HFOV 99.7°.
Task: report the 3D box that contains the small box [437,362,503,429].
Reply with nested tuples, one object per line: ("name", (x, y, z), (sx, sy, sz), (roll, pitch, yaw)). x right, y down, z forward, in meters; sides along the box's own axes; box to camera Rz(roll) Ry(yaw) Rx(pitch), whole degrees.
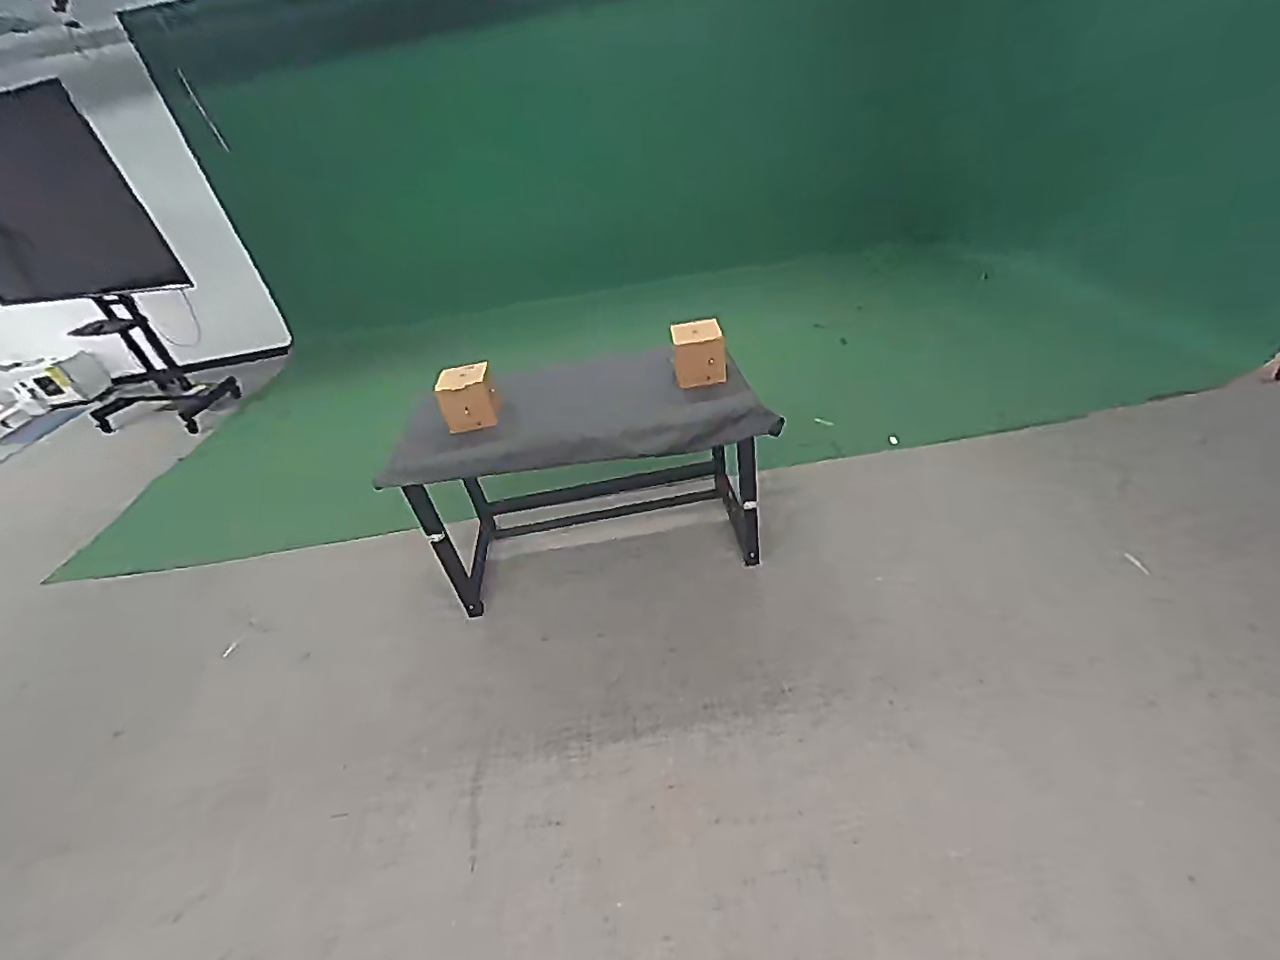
("small box", (-0.588, -0.289, 1.892), (0.168, 0.176, 0.179), (-10, 37, -1))

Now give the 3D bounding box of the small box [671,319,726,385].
("small box", (0.205, -0.443, 1.897), (0.168, 0.176, 0.179), (-8, 35, 2))
